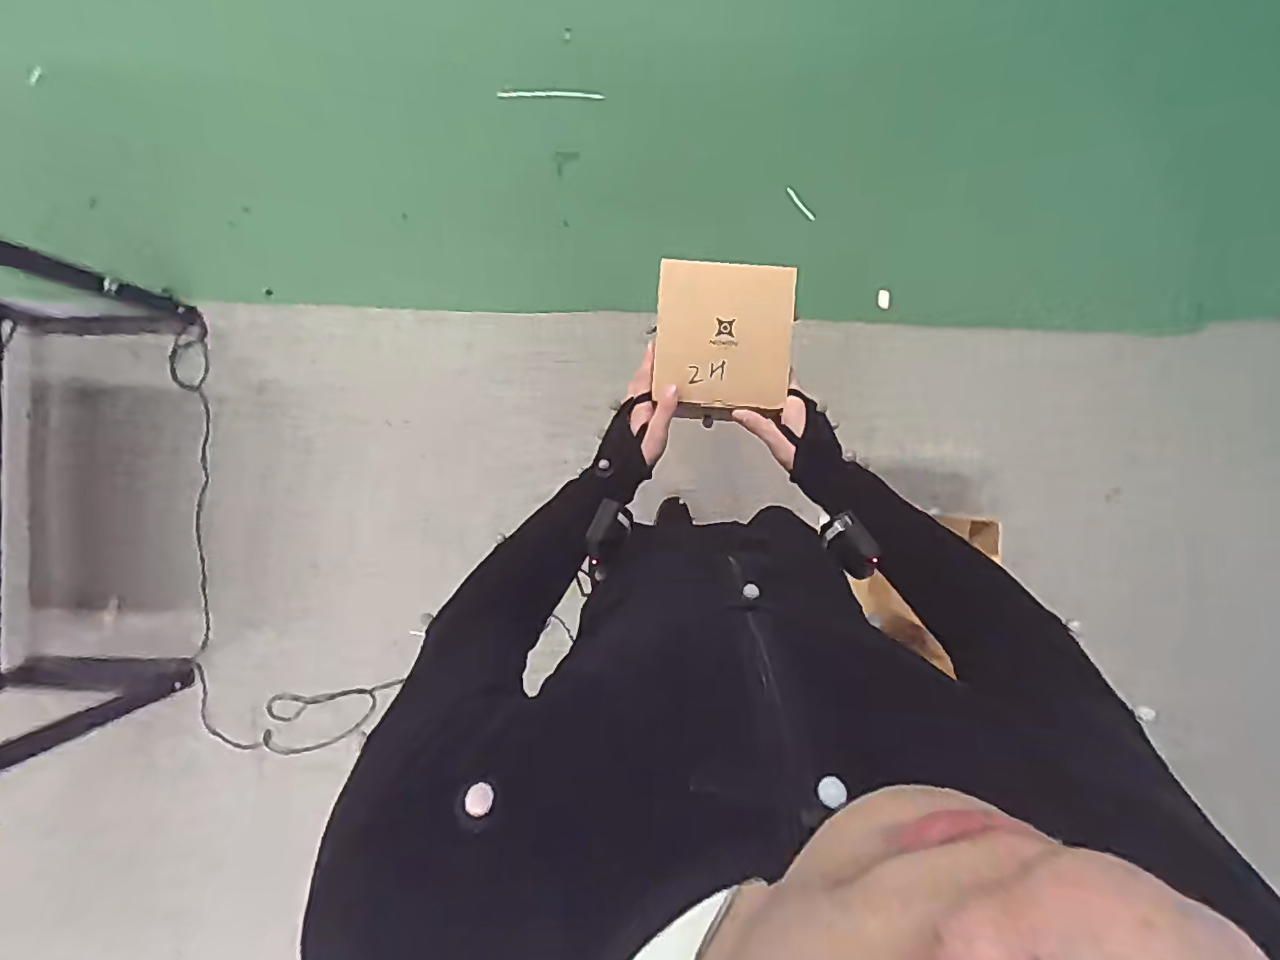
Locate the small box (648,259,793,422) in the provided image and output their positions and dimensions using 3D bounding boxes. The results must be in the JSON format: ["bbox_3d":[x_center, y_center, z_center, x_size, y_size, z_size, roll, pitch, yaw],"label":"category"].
[{"bbox_3d":[0.098,-0.177,0.731,0.168,0.176,0.179,4,92,1],"label":"small box"}]

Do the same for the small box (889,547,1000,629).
[{"bbox_3d":[0.734,0.257,1.315,0.179,0.176,0.168,2,90,1],"label":"small box"}]
